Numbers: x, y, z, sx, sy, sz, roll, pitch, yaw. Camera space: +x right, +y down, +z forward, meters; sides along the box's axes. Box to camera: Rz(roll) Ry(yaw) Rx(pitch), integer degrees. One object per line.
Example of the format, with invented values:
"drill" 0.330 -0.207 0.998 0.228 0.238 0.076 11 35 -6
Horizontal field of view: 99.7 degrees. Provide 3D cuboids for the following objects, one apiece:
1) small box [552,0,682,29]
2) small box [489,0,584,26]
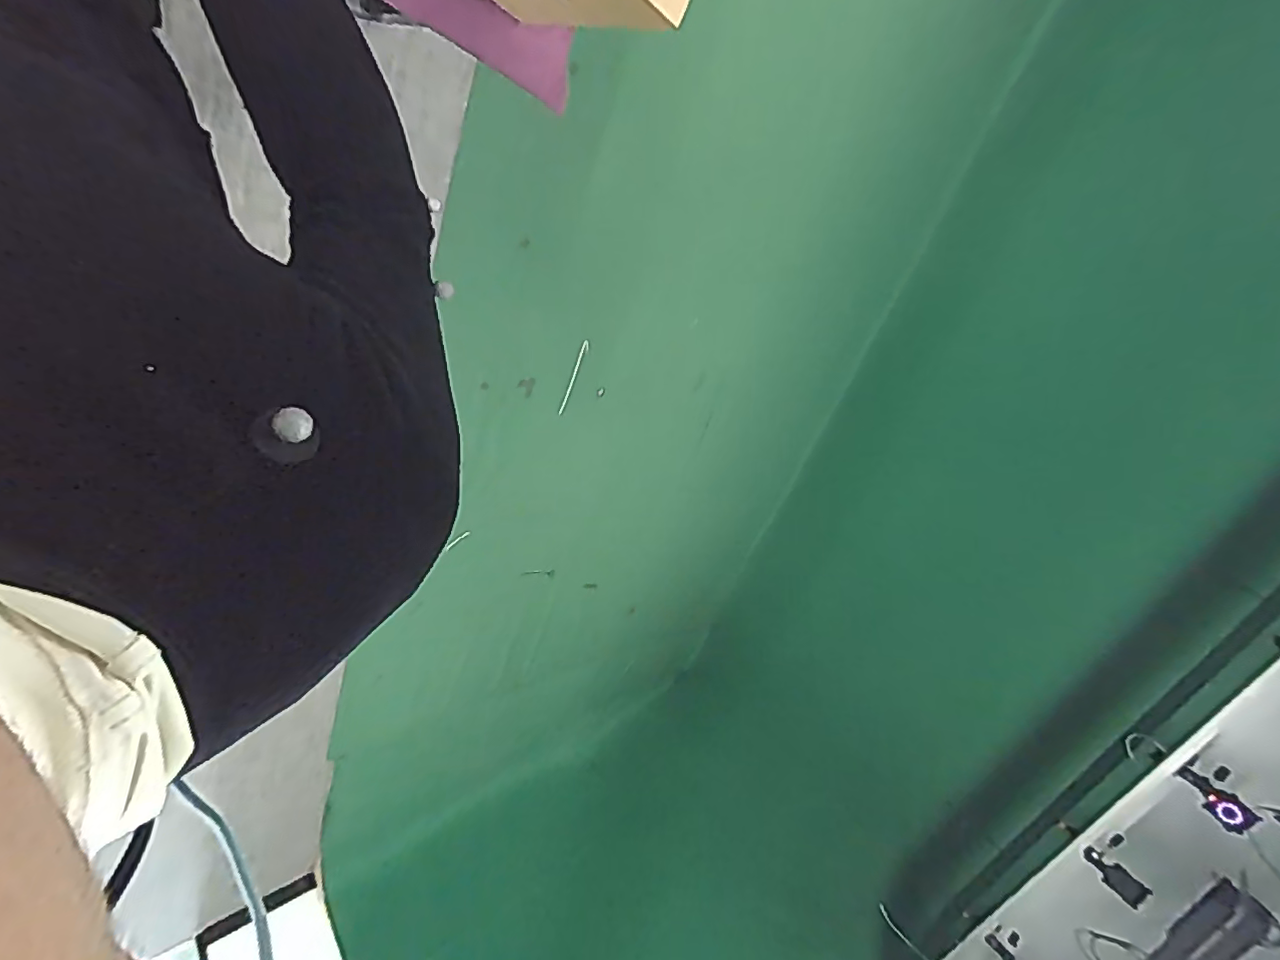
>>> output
"small box" -0.039 -0.599 0.537 0.168 0.176 0.179 2 120 -47
"small box" -0.147 -0.679 0.630 0.179 0.176 0.168 0 120 -49
